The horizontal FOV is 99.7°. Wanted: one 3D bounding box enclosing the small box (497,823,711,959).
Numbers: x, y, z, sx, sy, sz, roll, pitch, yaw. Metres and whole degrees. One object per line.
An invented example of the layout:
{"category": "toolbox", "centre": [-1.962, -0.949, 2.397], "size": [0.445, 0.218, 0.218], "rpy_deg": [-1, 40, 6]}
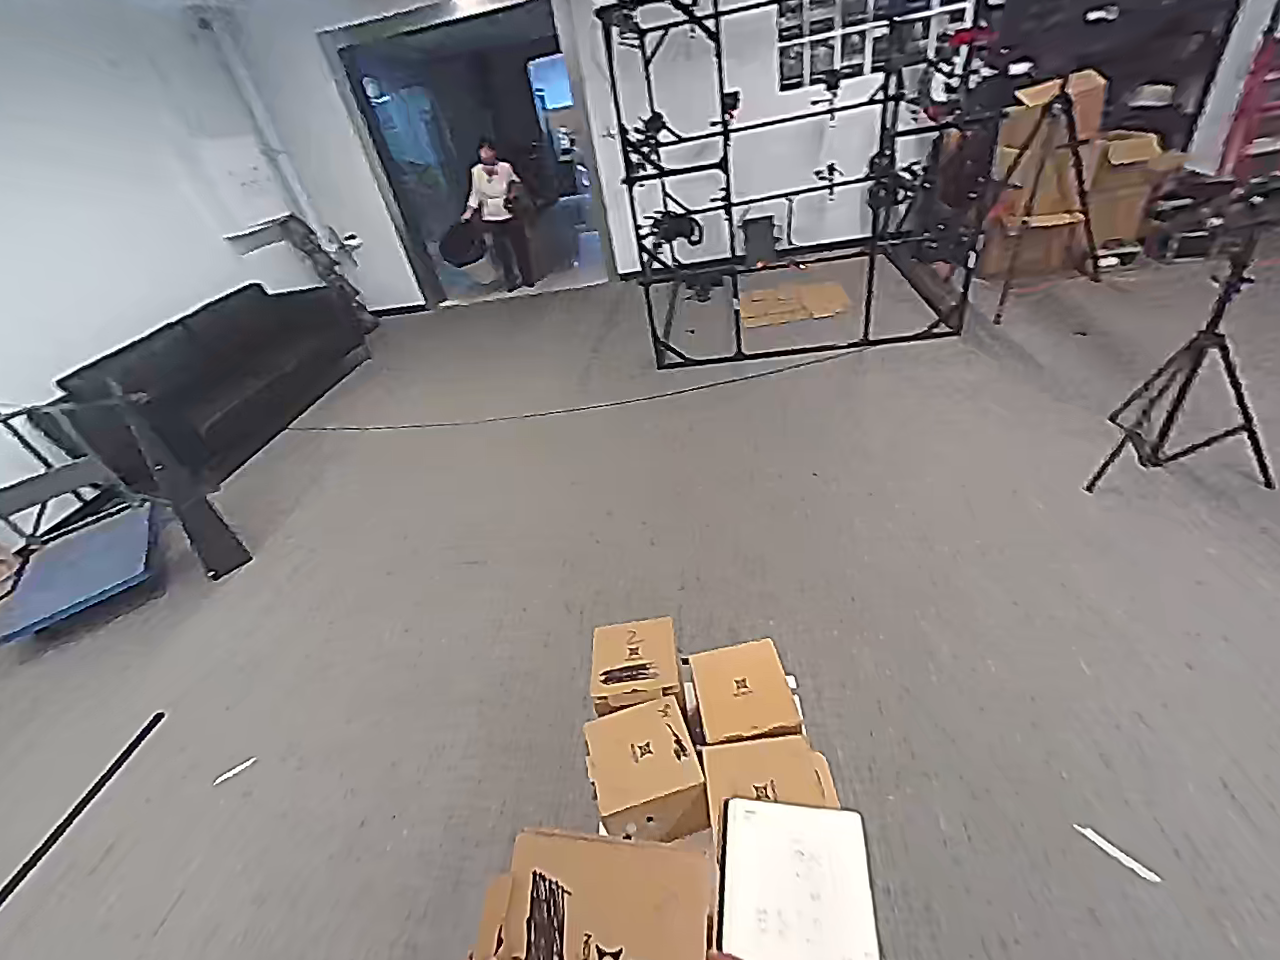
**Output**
{"category": "small box", "centre": [-0.026, 0.436, 0.514], "size": [0.179, 0.176, 0.168], "rpy_deg": [3, 58, 7]}
